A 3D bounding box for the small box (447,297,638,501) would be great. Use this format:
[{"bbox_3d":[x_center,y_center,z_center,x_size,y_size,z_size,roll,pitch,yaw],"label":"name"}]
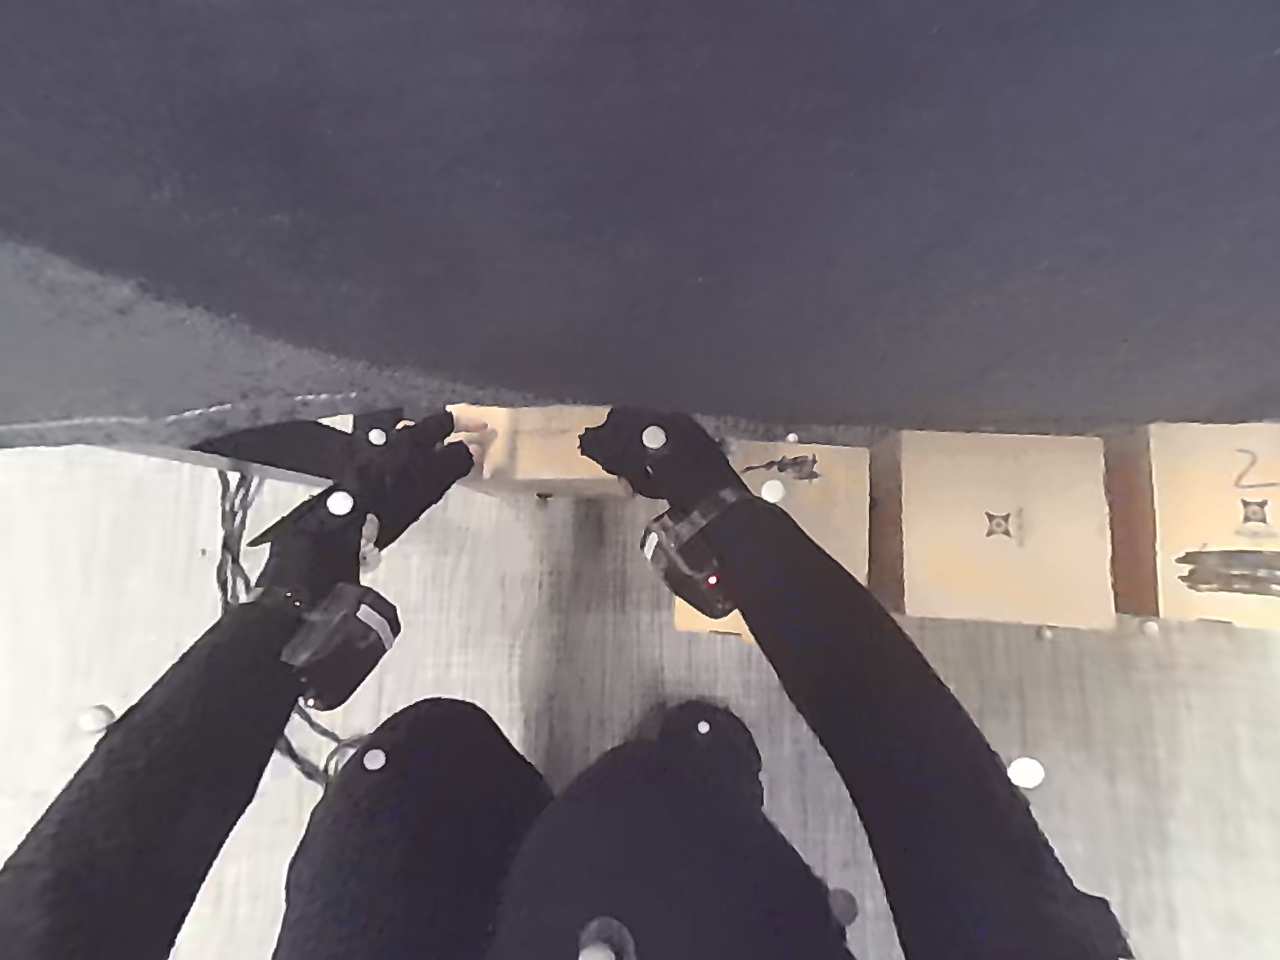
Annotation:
[{"bbox_3d":[-0.090,-0.075,0.582,0.168,0.176,0.179,-1,81,4],"label":"small box"}]
